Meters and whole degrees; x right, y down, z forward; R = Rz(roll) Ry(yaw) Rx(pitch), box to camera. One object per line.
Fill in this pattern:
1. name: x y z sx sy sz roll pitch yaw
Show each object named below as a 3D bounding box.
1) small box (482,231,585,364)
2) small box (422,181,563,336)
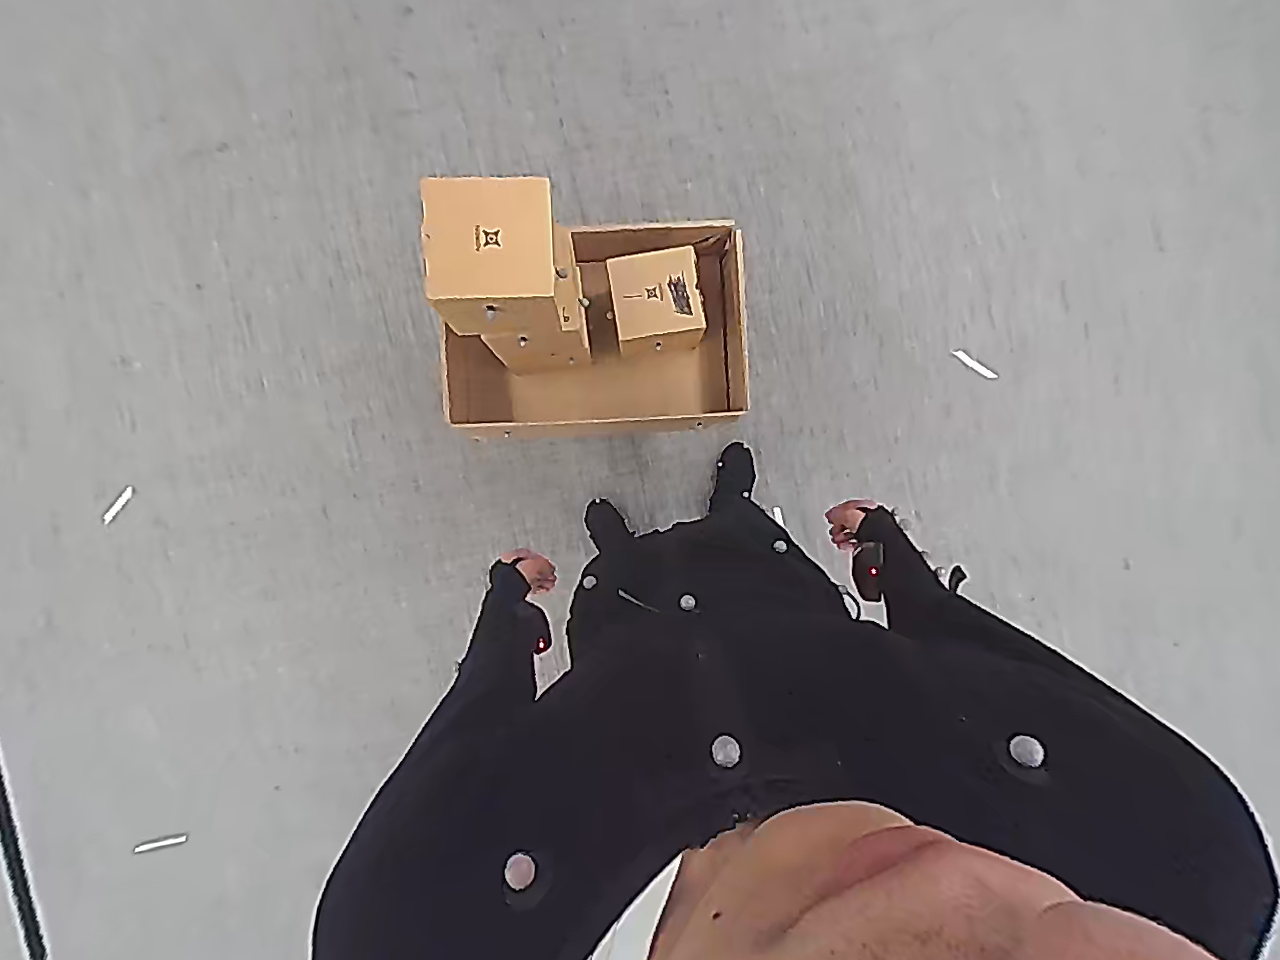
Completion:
1. small box: -0.191 -0.320 0.971 0.168 0.176 0.179 -6 89 -3
2. small box: -0.208 -0.320 0.807 0.179 0.176 0.168 -3 89 -3
